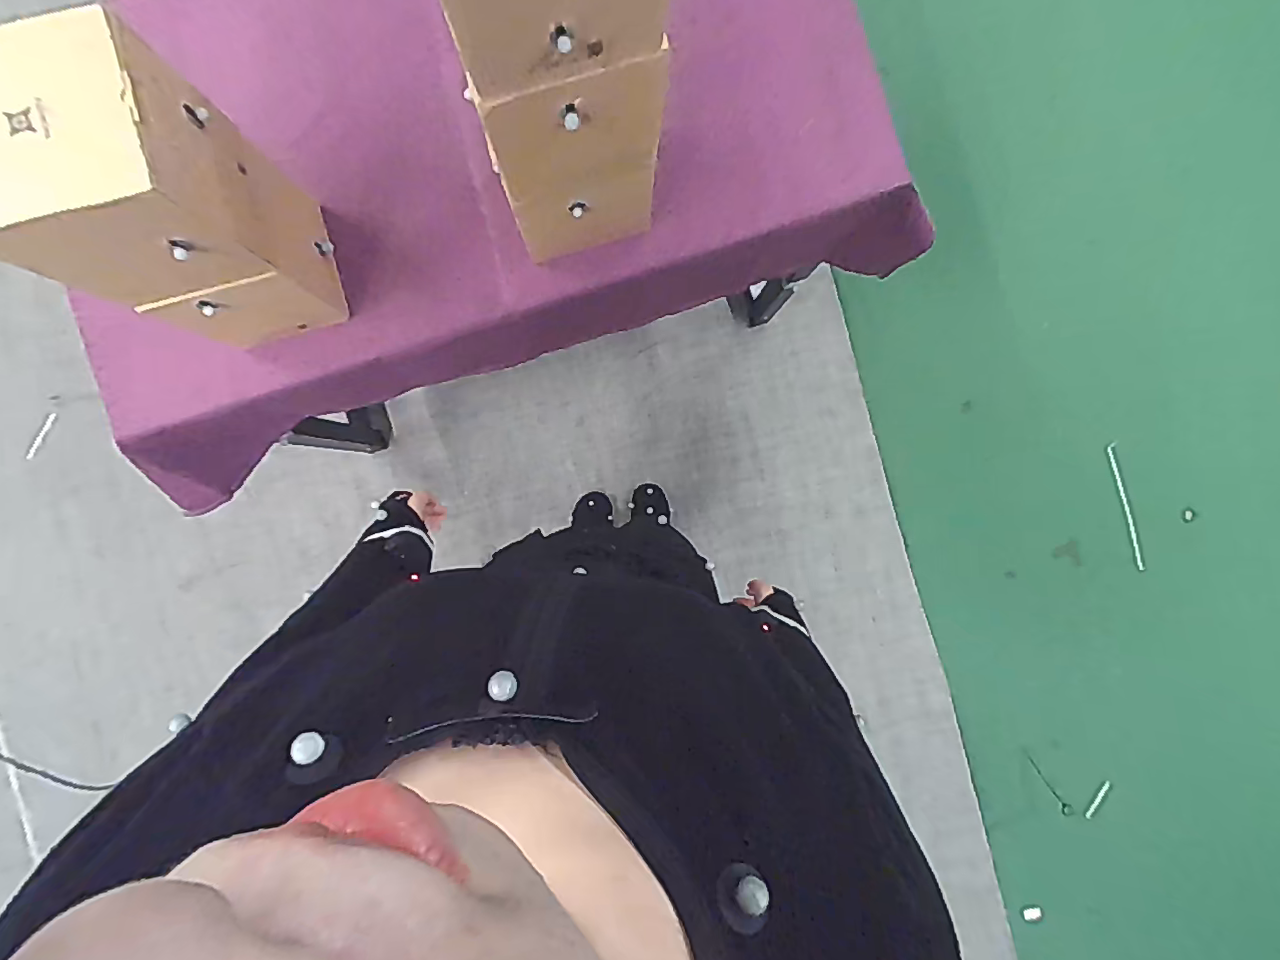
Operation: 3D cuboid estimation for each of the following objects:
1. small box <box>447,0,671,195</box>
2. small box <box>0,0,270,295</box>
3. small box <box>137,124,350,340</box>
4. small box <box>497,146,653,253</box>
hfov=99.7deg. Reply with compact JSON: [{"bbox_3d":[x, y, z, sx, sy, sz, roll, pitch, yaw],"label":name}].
[{"bbox_3d":[-0.080,-0.422,0.540,0.179,0.176,0.168,-17,91,-1],"label":"small box"},{"bbox_3d":[-0.502,-0.301,0.526,0.179,0.176,0.168,-15,90,-1],"label":"small box"},{"bbox_3d":[-0.507,-0.300,0.690,0.168,0.176,0.179,-16,90,-1],"label":"small box"},{"bbox_3d":[-0.089,-0.421,0.703,0.179,0.176,0.168,-16,91,-2],"label":"small box"}]
